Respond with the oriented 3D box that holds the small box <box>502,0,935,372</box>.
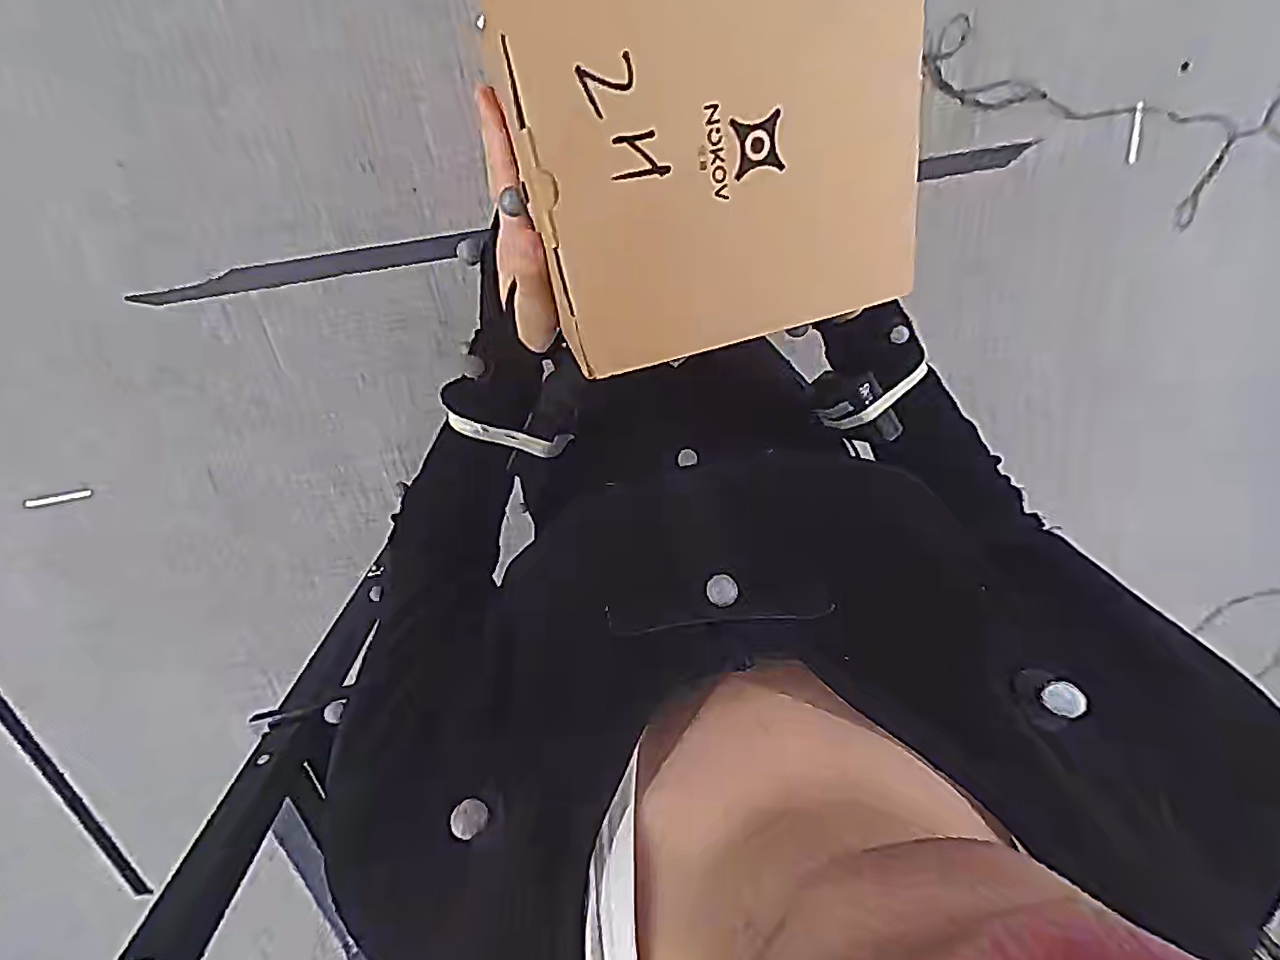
[{"bbox_3d":[0.029,-0.177,0.302,0.179,0.176,0.168,-15,117,-6],"label":"small box"}]
